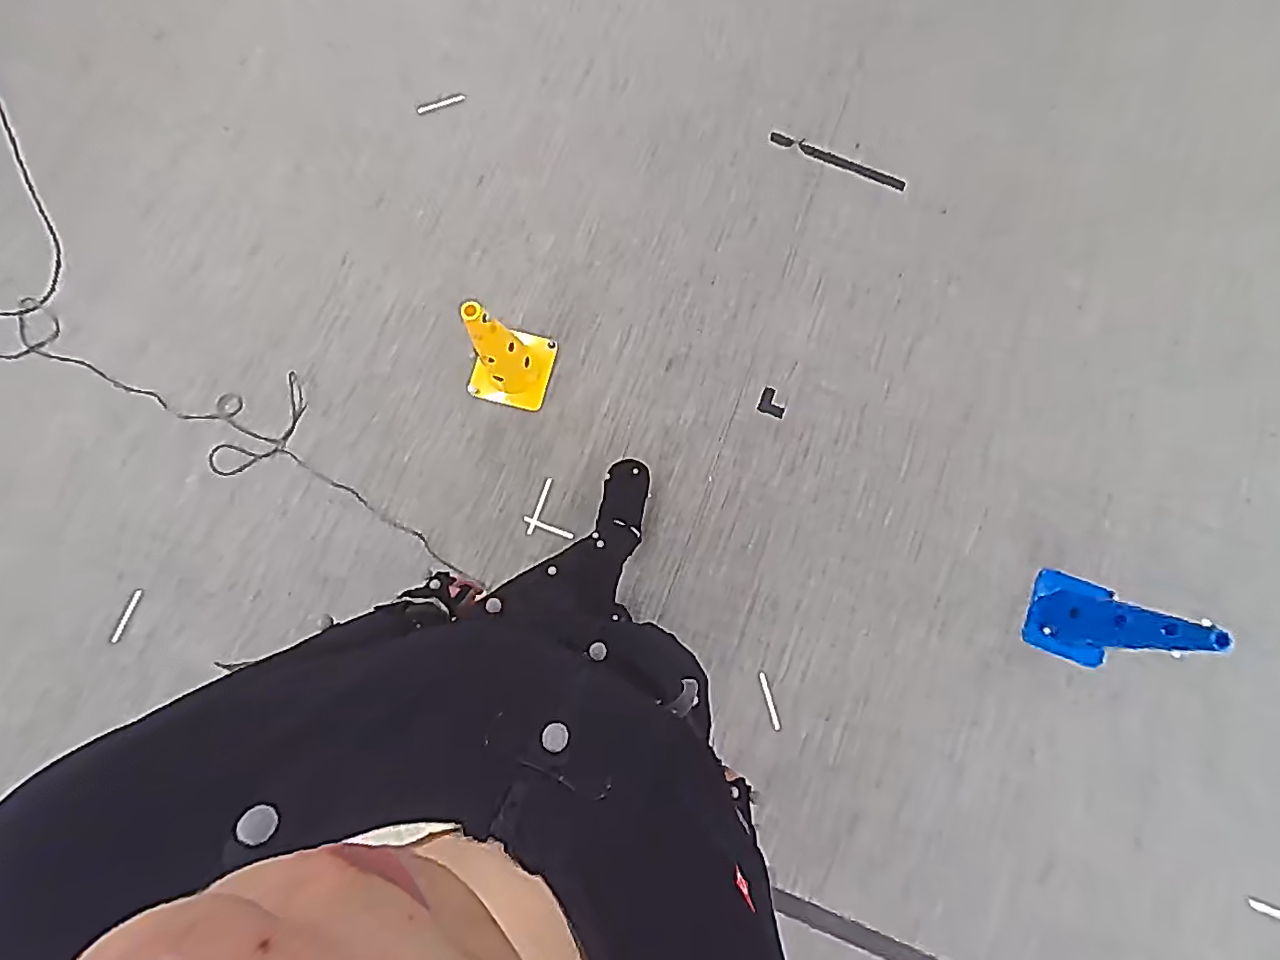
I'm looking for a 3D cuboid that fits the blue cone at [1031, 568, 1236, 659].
[{"bbox_3d":[1.068,0.305,1.168,0.193,0.380,0.192,22,82,3],"label":"blue cone"}]
